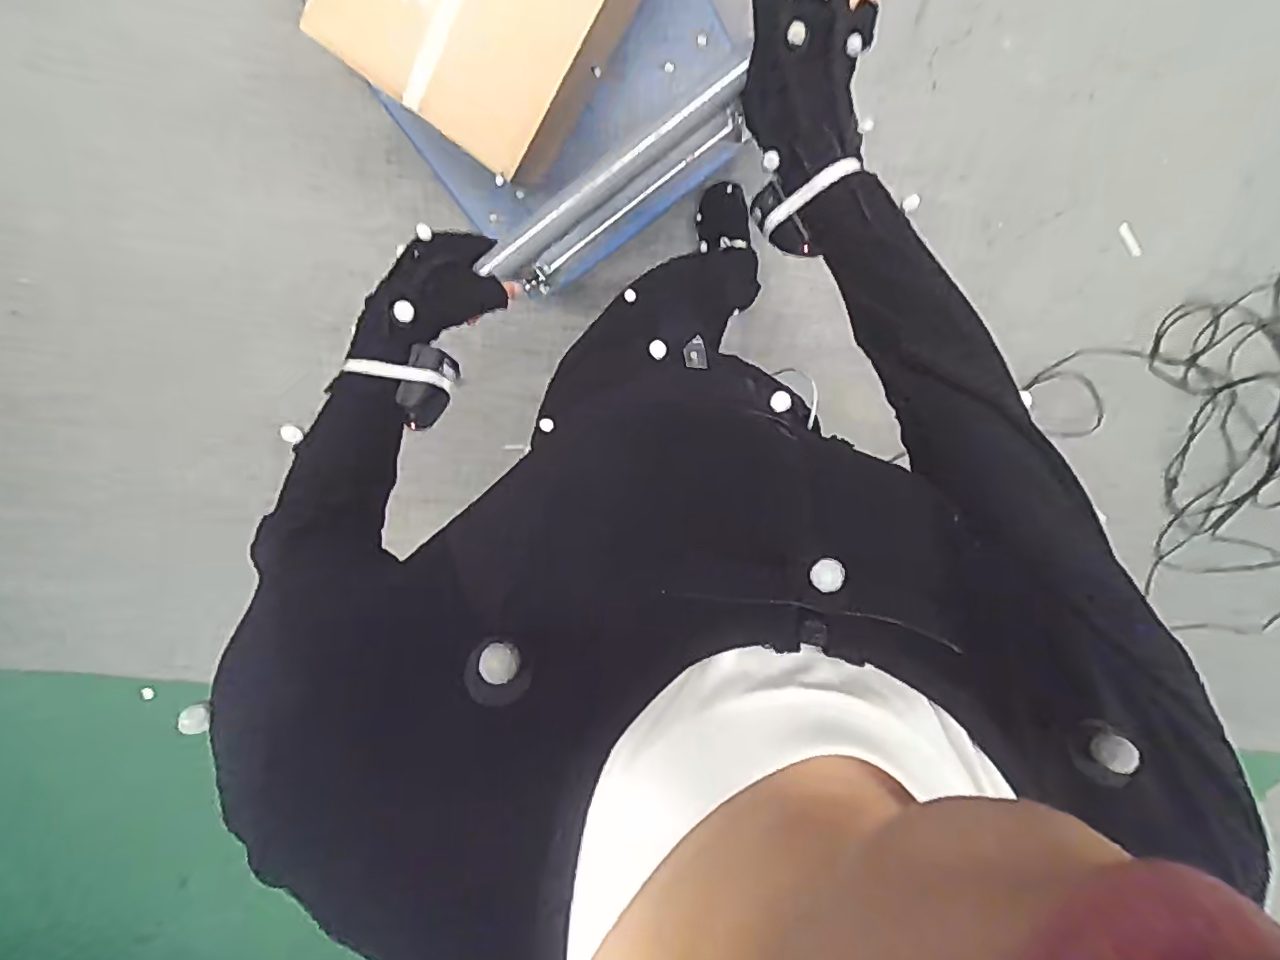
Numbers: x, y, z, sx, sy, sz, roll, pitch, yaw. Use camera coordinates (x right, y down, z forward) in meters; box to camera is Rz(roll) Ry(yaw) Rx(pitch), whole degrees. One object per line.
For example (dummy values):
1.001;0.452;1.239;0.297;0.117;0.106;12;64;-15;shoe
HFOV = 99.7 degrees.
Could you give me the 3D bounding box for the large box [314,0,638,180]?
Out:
-0.198;-0.732;0.808;0.320;0.320;0.408;32;113;-16;large box
